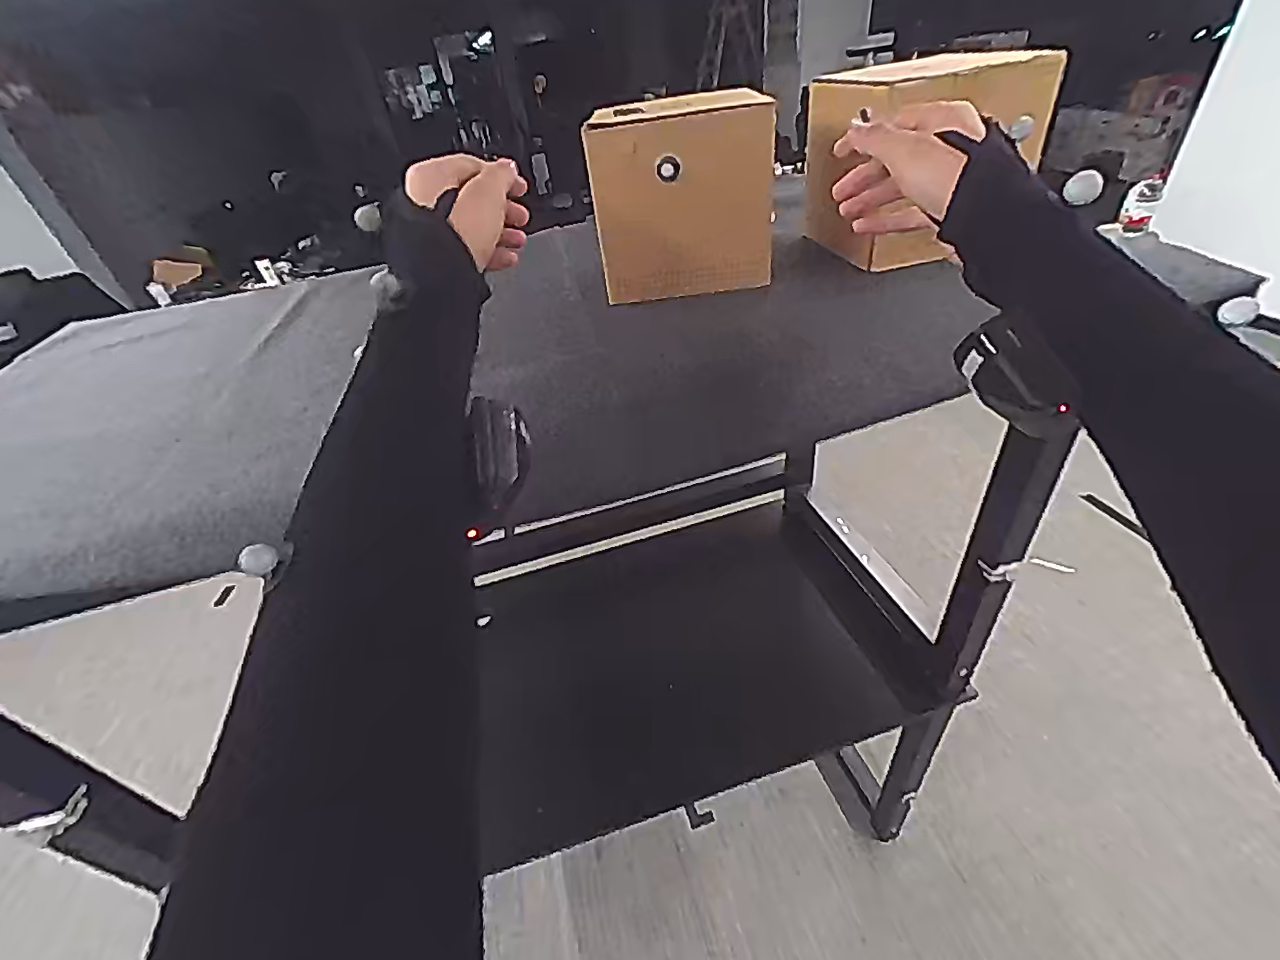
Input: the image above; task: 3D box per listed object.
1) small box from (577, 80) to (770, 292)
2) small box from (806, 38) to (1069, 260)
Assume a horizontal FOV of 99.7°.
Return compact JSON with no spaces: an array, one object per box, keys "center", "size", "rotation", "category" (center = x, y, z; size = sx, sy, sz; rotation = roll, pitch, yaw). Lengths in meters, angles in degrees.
[{"center":[0.040,-0.316,0.586],"size":[0.179,0.176,0.168],"rotation":[-5,38,5],"category":"small box"},{"center":[0.289,-0.351,0.578],"size":[0.168,0.176,0.179],"rotation":[-12,39,-3],"category":"small box"}]
